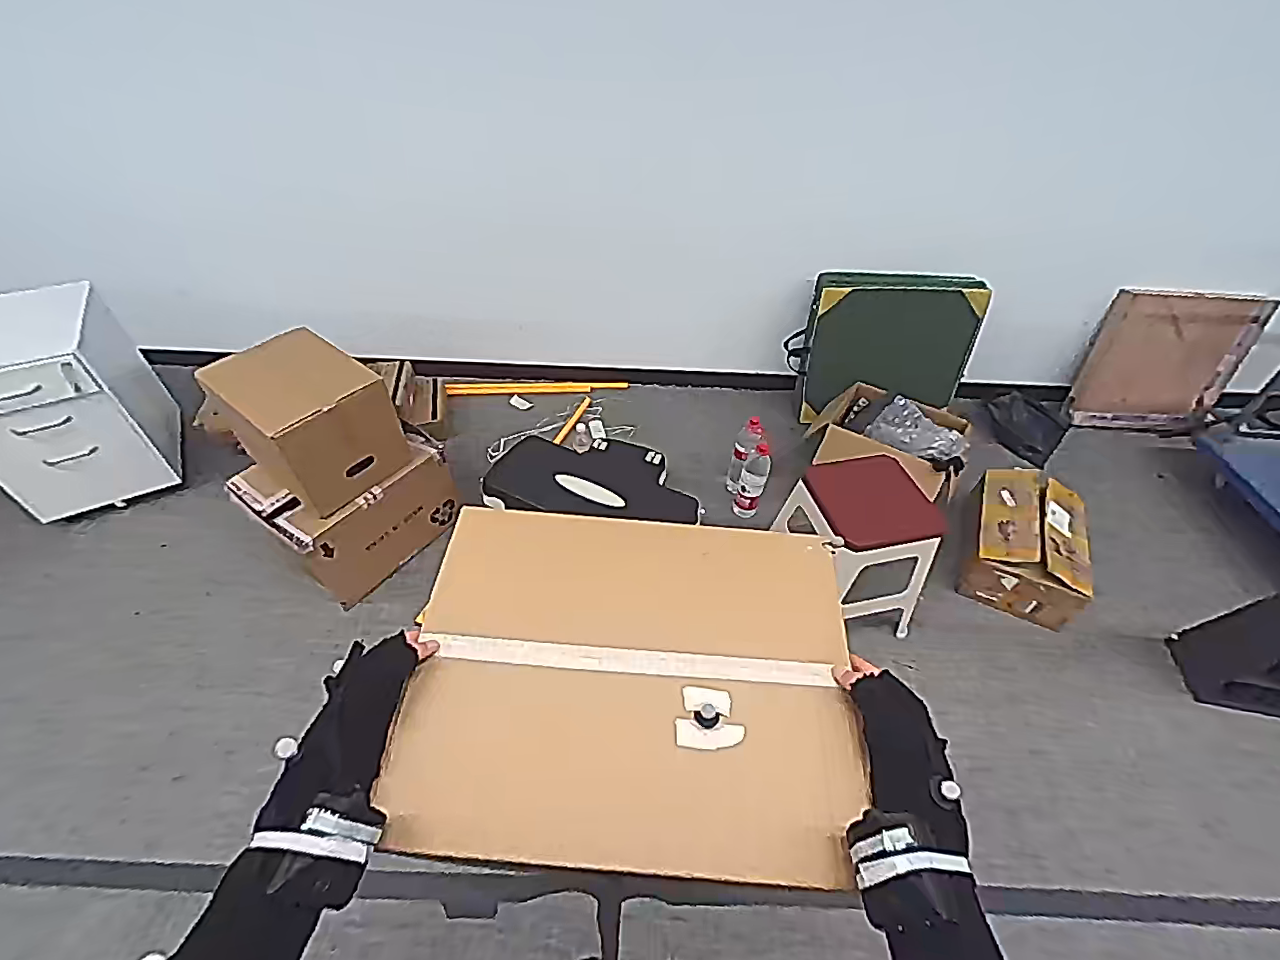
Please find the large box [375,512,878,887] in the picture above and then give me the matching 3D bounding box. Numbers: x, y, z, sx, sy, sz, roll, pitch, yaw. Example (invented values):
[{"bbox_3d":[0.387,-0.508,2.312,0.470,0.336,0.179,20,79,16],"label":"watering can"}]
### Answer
[{"bbox_3d":[-0.011,0.261,0.626,0.408,0.320,0.320,5,52,0],"label":"large box"}]
